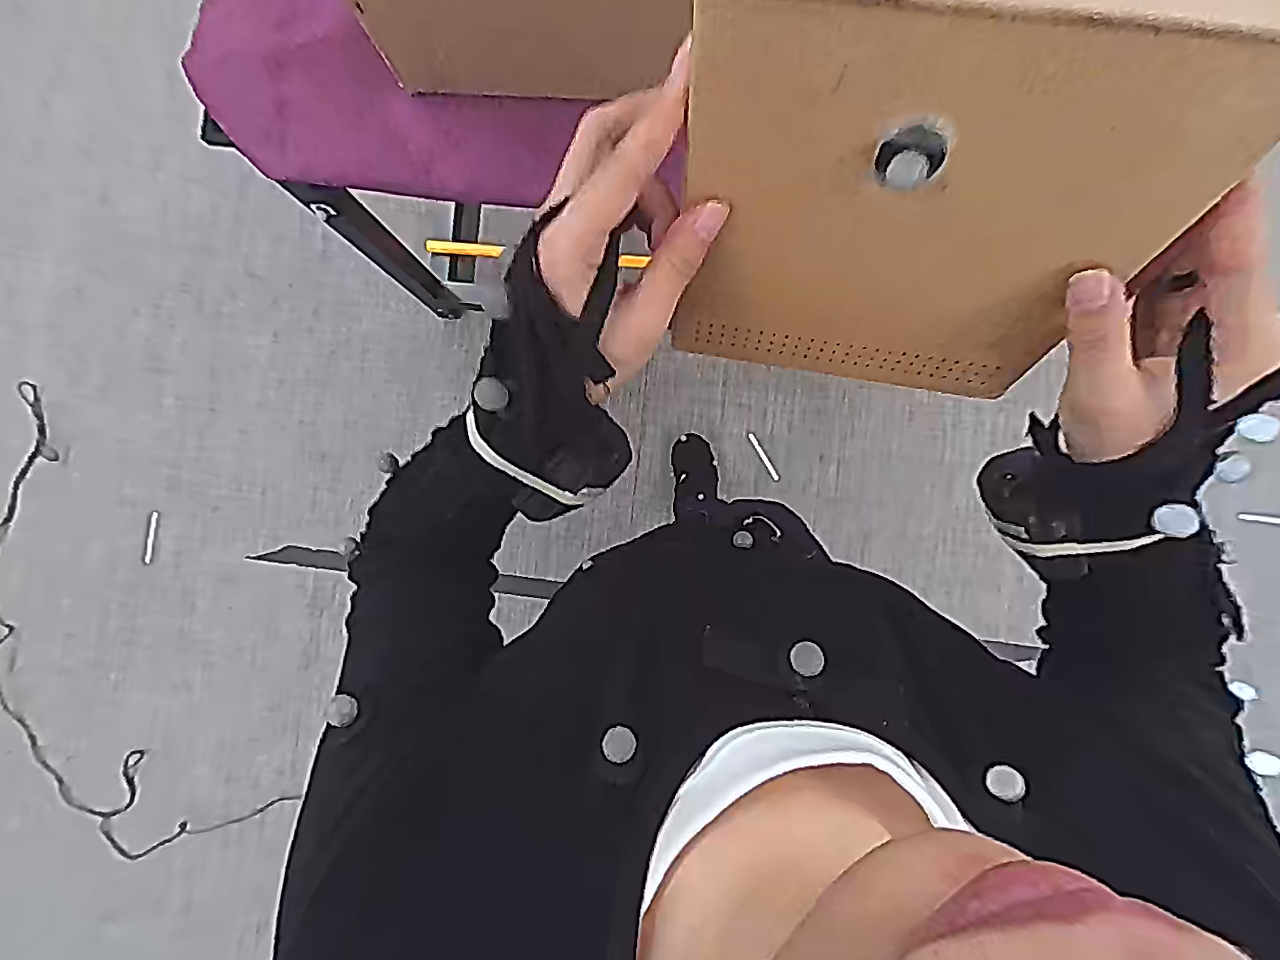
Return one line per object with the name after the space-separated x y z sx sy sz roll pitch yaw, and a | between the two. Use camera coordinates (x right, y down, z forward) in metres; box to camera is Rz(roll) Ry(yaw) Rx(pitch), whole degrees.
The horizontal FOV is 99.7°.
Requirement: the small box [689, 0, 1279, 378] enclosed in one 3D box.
0.122 -0.166 0.244 0.179 0.176 0.168 10 67 5 | small box
